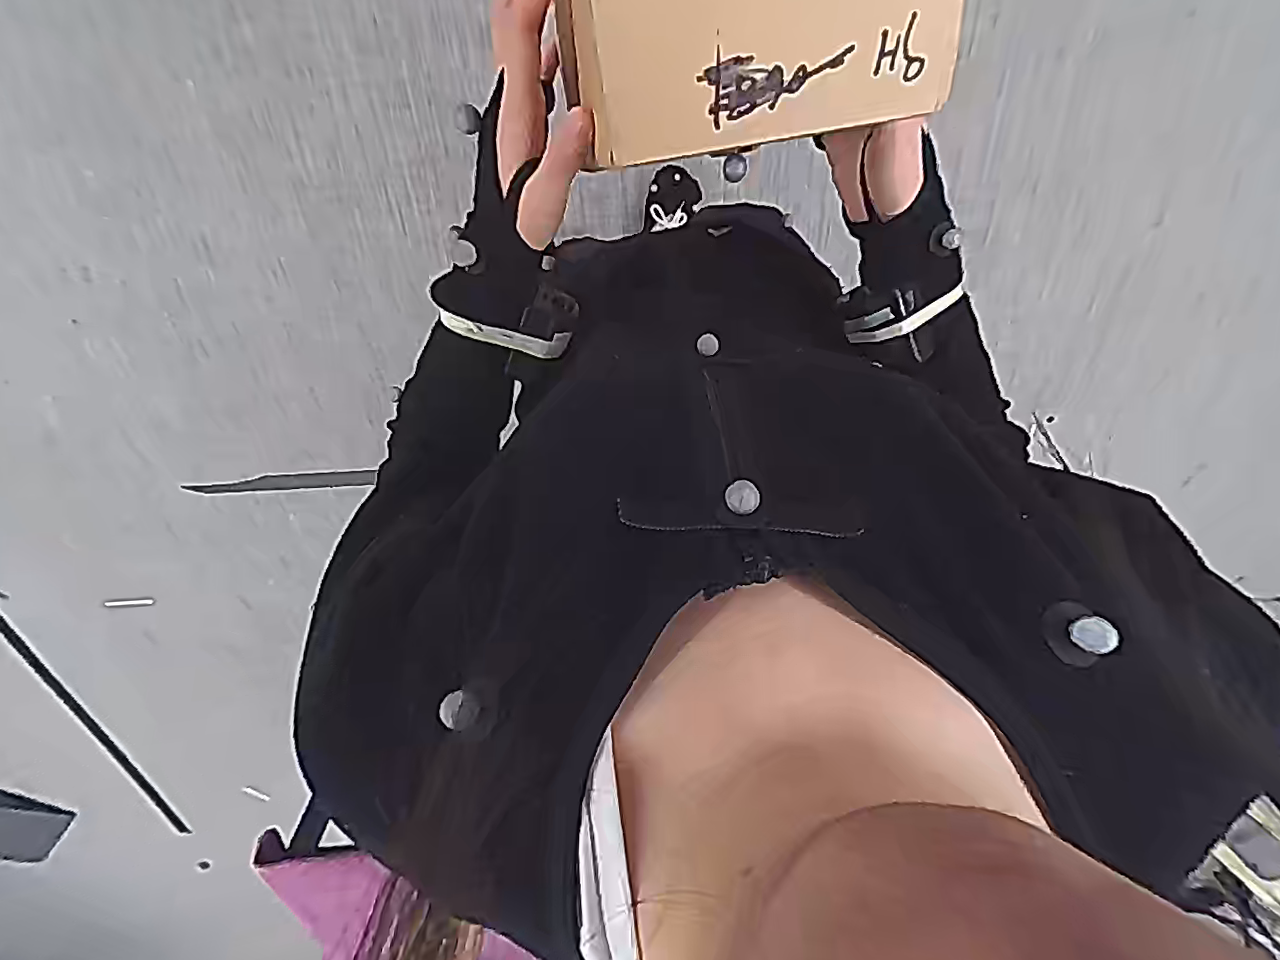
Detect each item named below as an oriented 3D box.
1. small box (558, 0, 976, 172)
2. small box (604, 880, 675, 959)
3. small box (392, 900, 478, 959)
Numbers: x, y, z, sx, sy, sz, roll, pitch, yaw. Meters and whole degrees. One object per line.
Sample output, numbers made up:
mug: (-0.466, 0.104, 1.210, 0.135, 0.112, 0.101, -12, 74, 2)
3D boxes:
small box: (0.043, -0.268, 0.272, 0.168, 0.176, 0.179, -13, 120, -4)
small box: (-0.002, 1.130, 1.342, 0.168, 0.176, 0.179, -2, 119, -2)
small box: (-0.507, 1.181, 1.345, 0.168, 0.176, 0.179, 1, 120, -5)
